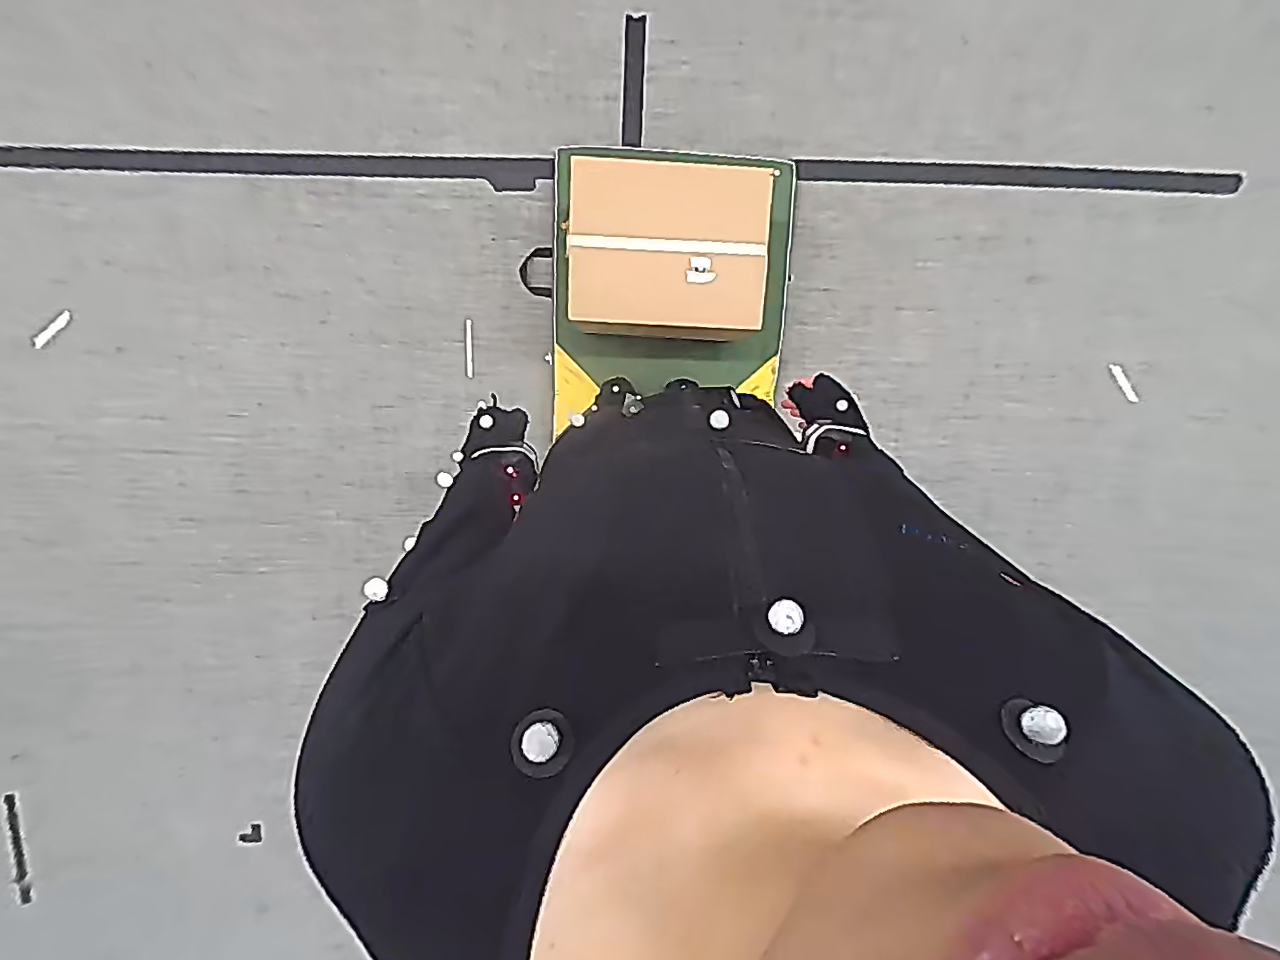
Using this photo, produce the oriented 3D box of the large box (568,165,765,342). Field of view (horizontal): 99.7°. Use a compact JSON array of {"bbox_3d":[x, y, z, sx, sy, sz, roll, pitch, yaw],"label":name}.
[{"bbox_3d":[0.044,-0.496,1.255,0.408,0.320,0.320,2,100,-3],"label":"large box"}]
